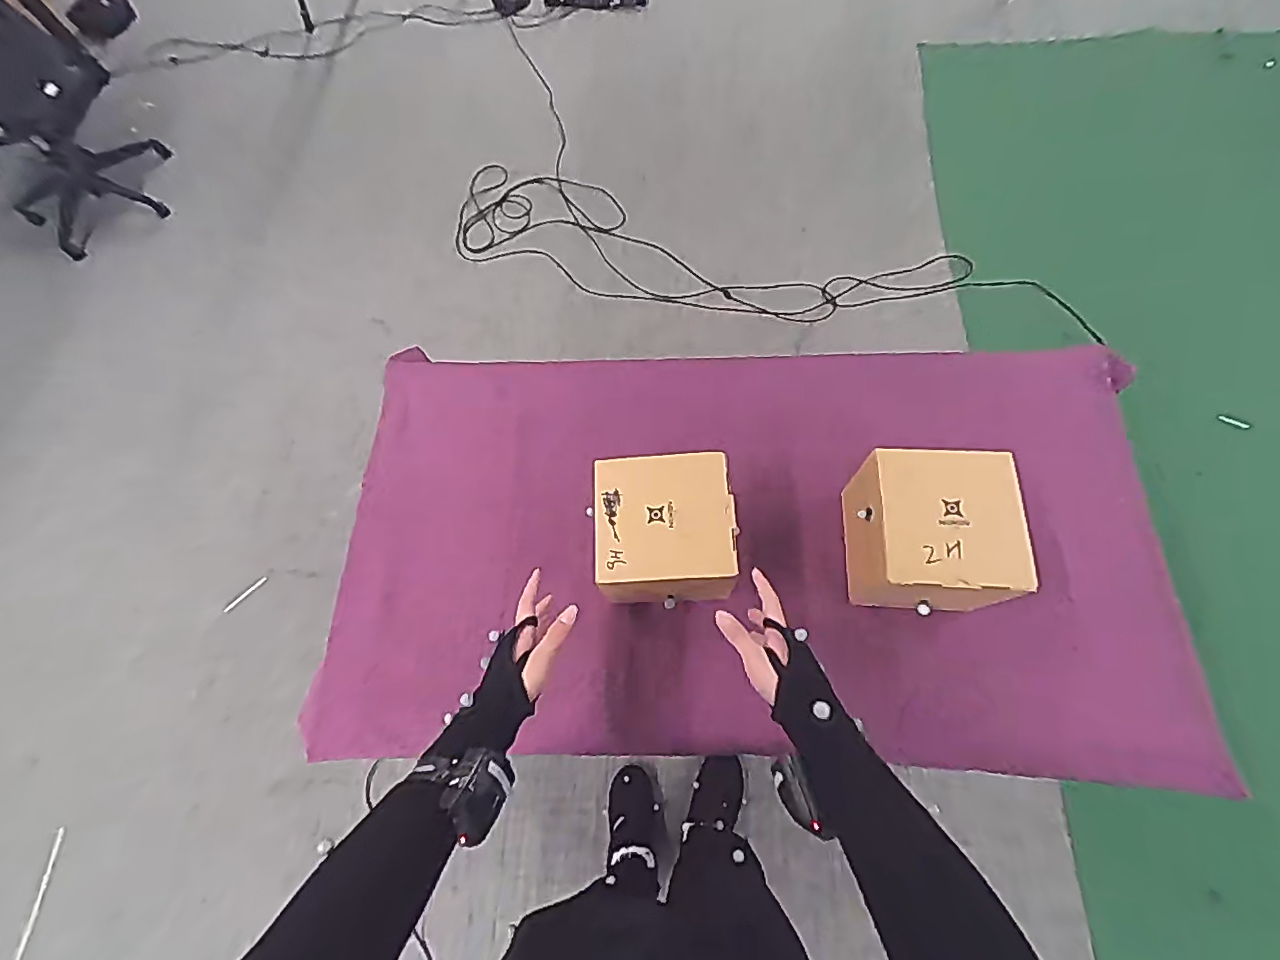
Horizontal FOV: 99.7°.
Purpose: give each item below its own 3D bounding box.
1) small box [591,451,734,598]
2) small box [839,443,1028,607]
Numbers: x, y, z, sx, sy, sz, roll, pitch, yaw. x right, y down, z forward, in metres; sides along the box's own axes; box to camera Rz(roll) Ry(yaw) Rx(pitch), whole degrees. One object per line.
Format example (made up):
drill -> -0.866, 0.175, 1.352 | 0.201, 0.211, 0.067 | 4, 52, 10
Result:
small box -> 0.029, 0.069, 0.756 | 0.179, 0.176, 0.168 | -3, 69, 3
small box -> 0.374, 0.066, 0.727 | 0.168, 0.176, 0.179 | 2, 69, 6
